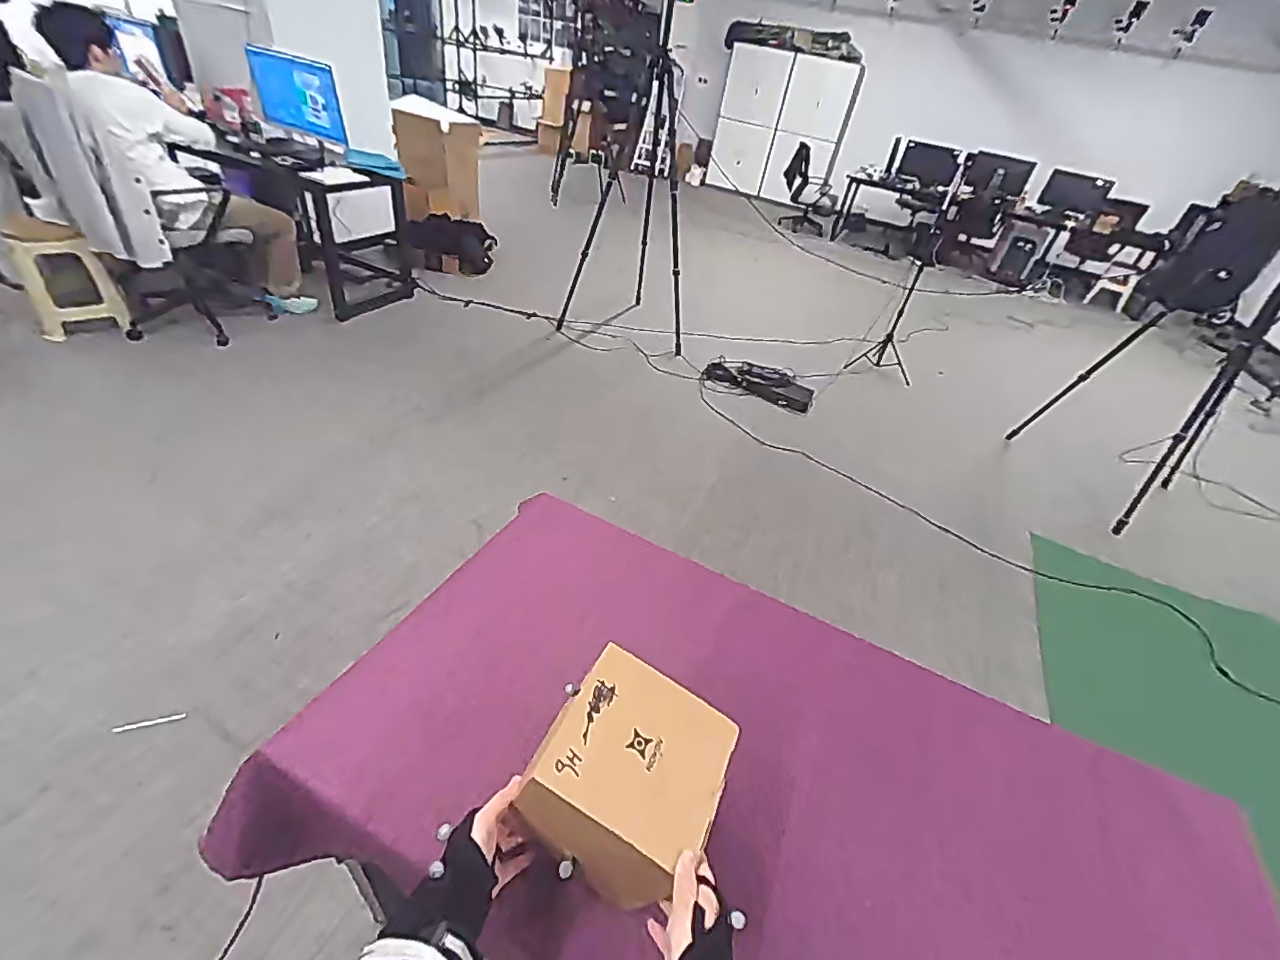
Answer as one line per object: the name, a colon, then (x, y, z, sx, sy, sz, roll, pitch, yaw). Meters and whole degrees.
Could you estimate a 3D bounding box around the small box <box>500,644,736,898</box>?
small box: (-0.027, 0.325, 0.600, 0.179, 0.176, 0.168, 34, 40, 3)
